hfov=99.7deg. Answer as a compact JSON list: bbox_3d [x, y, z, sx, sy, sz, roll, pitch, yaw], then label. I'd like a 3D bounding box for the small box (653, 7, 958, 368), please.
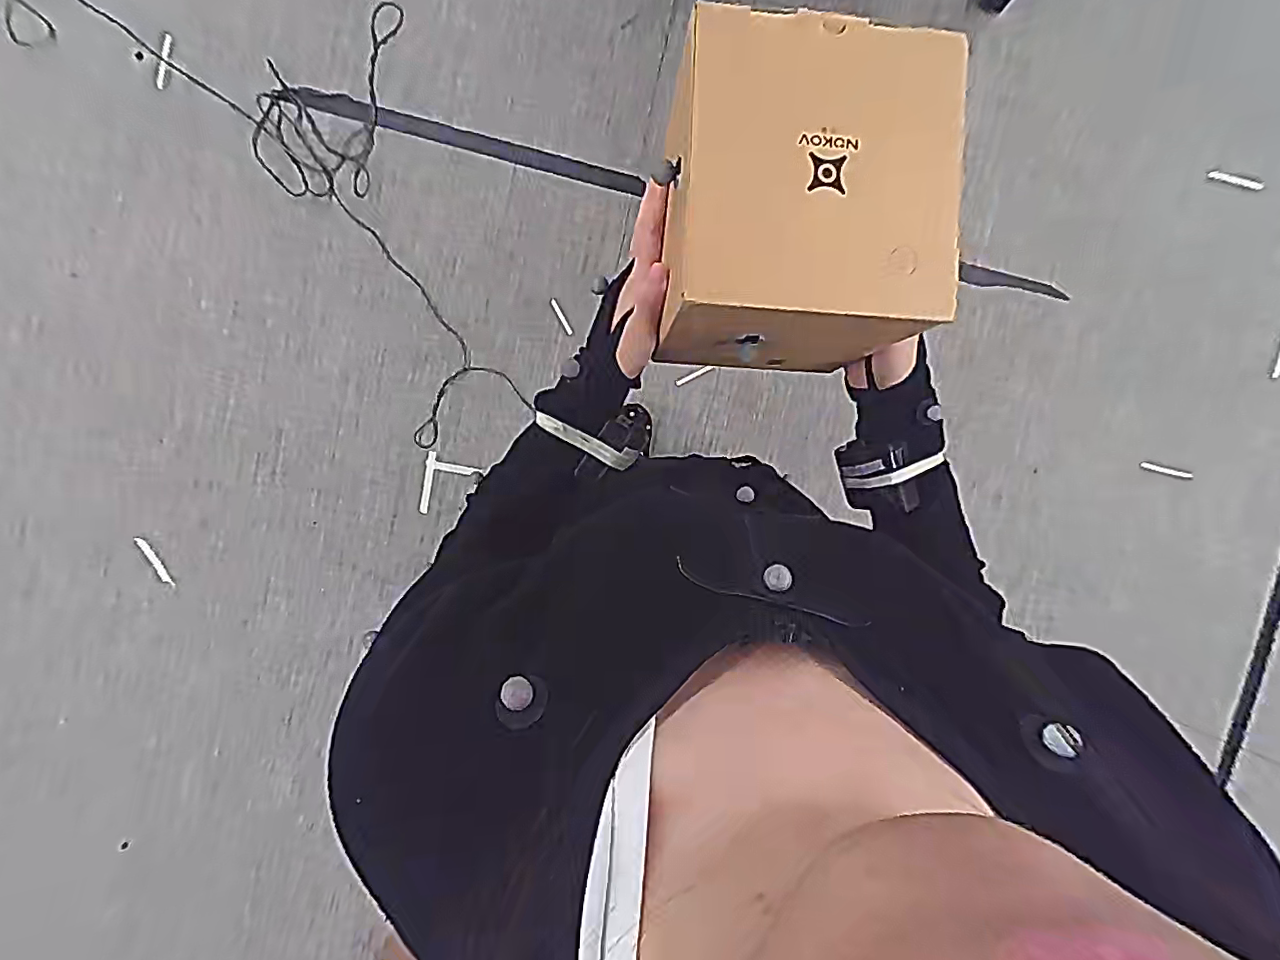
[{"bbox_3d":[0.101,-0.186,0.401,0.168,0.176,0.179,2,89,-5],"label":"small box"}]
